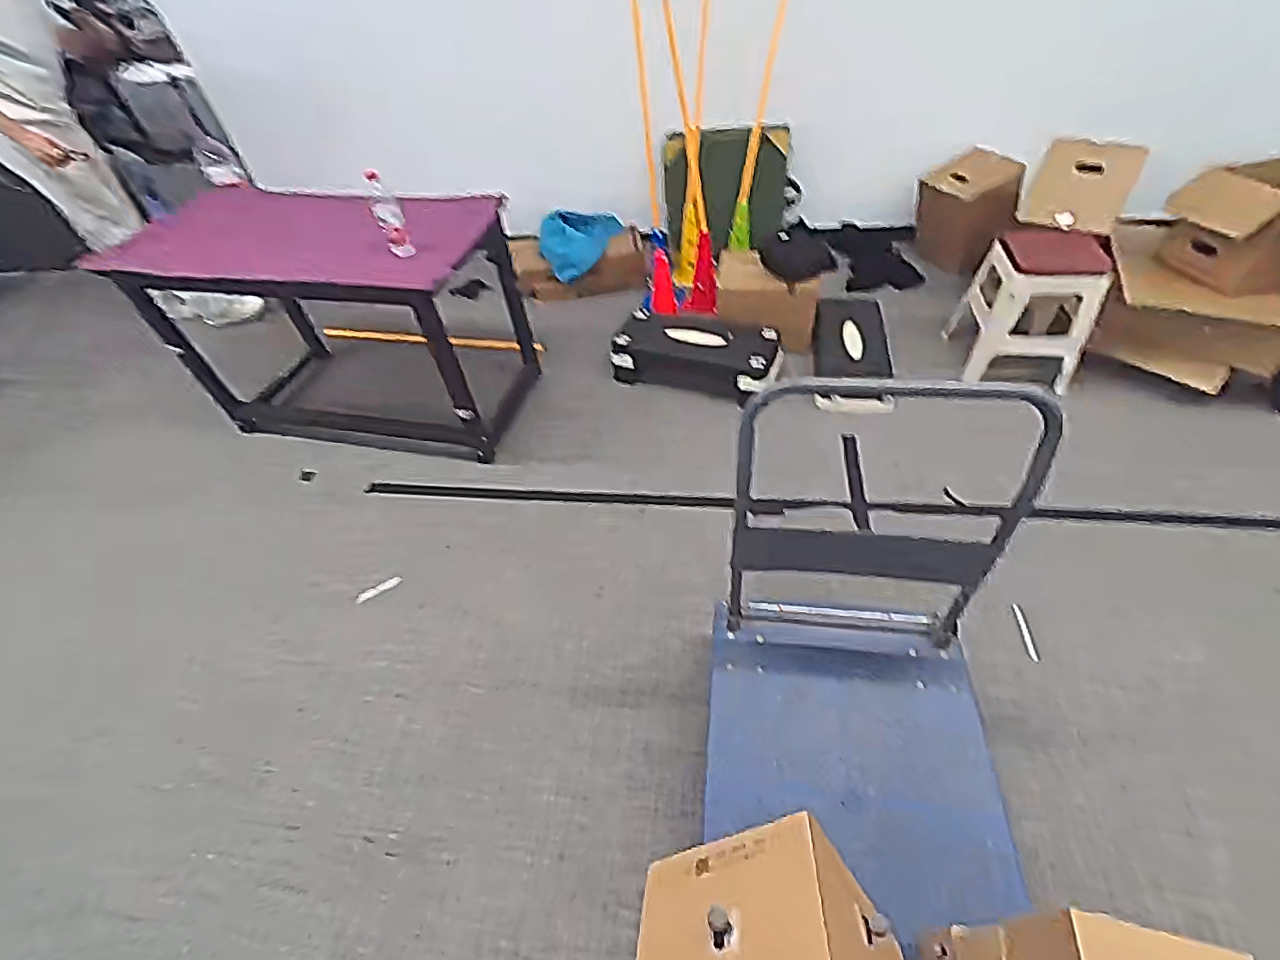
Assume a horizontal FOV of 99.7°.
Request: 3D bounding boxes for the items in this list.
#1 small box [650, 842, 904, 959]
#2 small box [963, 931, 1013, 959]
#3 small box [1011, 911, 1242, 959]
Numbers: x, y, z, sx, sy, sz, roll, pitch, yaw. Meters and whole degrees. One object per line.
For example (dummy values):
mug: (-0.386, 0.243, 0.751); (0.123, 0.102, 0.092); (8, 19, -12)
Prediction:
small box: (0.112, 0.419, 0.416); (0.168, 0.179, 0.176); (-31, 10, 17)
small box: (0.529, 0.699, 0.677); (0.179, 0.176, 0.168); (8, 49, 12)
small box: (0.518, 0.585, 0.558); (0.168, 0.176, 0.179); (8, 49, 13)
